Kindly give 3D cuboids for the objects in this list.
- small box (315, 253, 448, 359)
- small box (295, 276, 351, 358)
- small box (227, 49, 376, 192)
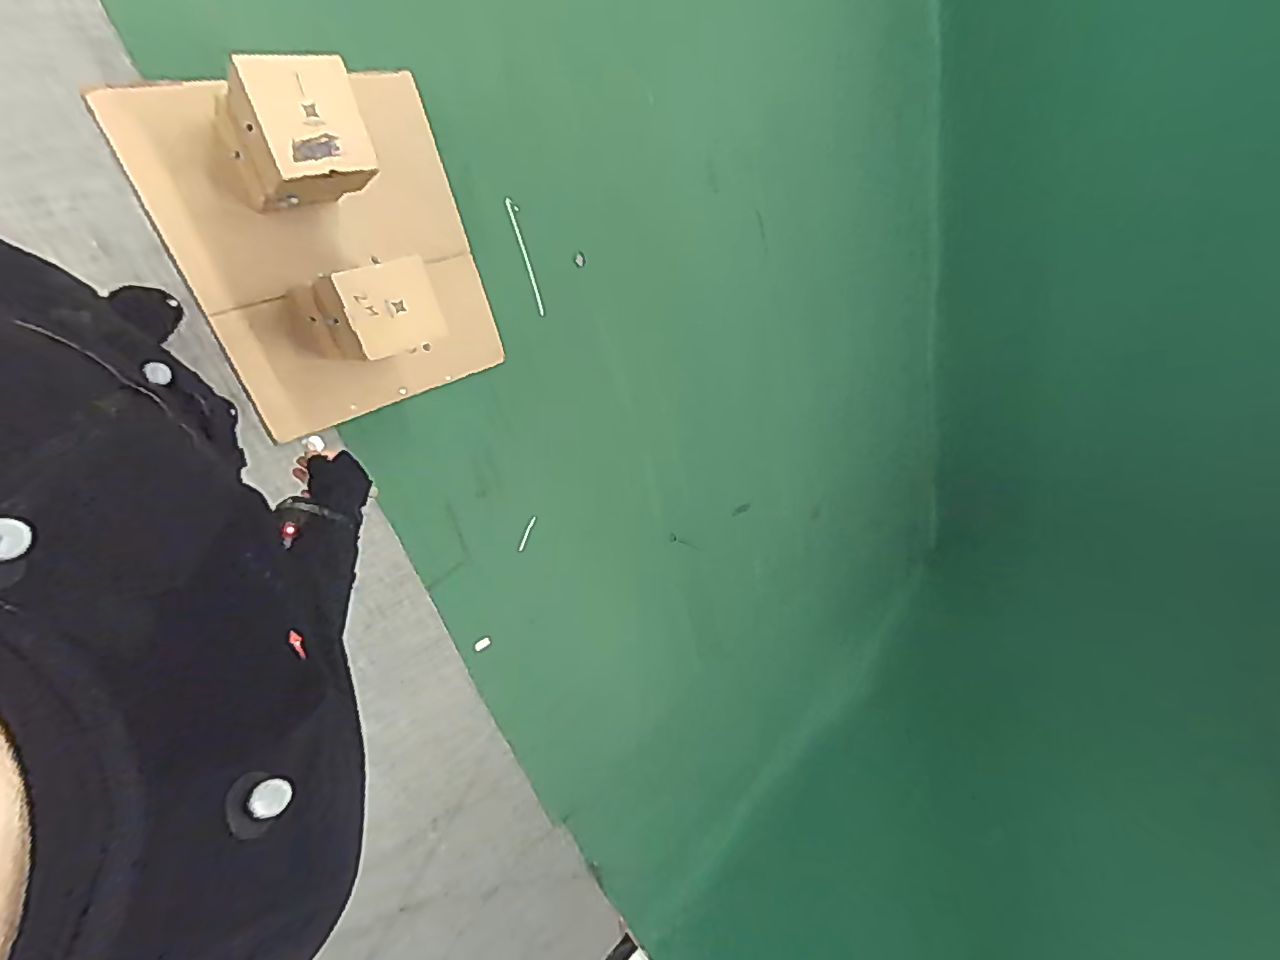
[{"bbox_3d":[-0.527,-0.355,1.101,0.179,0.176,0.168,-29,119,-31],"label":"small box"},{"bbox_3d":[-0.641,-0.385,1.218,0.179,0.176,0.168,-32,121,-29],"label":"small box"},{"bbox_3d":[-0.600,-0.625,0.961,0.168,0.176,0.179,-27,116,-32],"label":"small box"}]
